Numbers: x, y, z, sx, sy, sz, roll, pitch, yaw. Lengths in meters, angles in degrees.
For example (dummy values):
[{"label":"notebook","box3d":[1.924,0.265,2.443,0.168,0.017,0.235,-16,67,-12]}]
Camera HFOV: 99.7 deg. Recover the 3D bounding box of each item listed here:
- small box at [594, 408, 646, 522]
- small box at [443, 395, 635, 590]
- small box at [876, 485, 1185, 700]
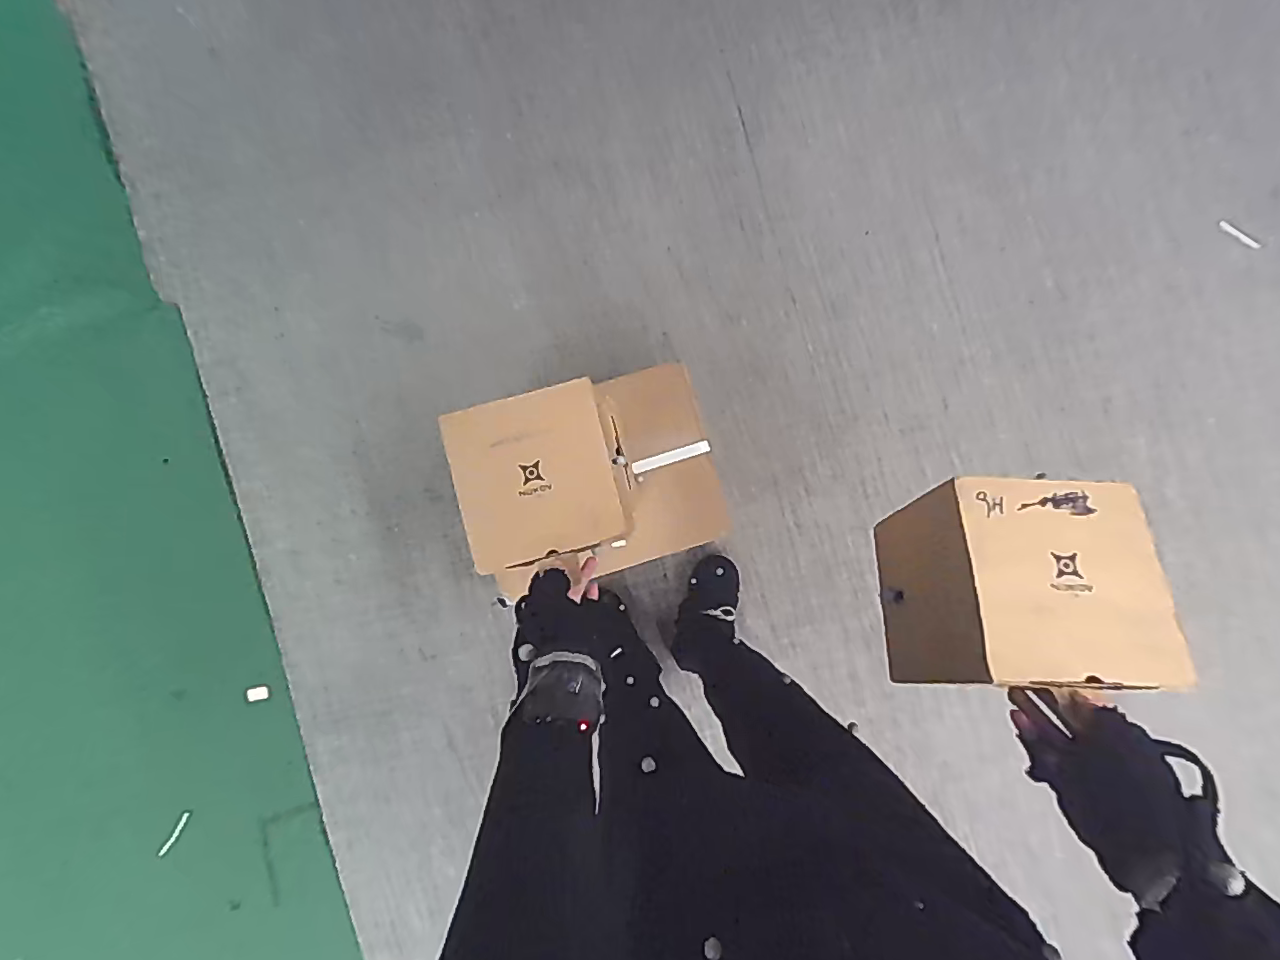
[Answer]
[{"label":"small box","box3d":[-0.099,-0.005,0.820,0.179,0.176,0.168,-18,94,2]},{"label":"small box","box3d":[-0.107,0.015,0.651,0.168,0.176,0.179,-16,87,1]},{"label":"small box","box3d":[0.354,0.116,0.533,0.168,0.176,0.179,3,70,-1]}]
